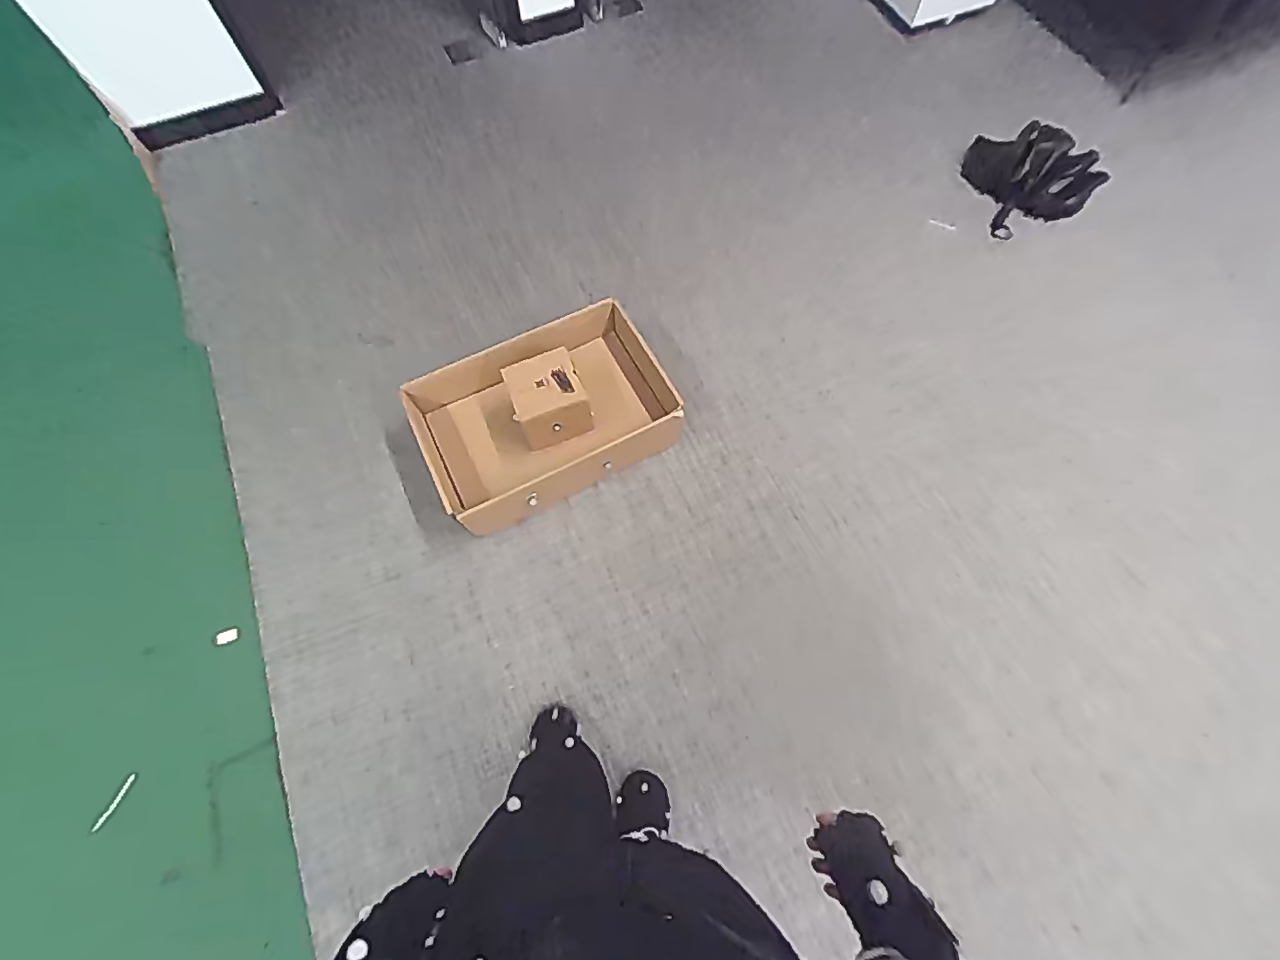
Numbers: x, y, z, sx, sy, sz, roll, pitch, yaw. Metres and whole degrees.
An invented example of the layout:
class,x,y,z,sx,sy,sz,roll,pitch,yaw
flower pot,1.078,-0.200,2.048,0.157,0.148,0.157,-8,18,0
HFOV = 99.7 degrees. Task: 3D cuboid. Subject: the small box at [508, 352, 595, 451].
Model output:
class,x,y,z,sx,sy,sz,roll,pitch,yaw
small box,-0.225,-0.201,1.425,0.179,0.176,0.168,-21,68,-5
